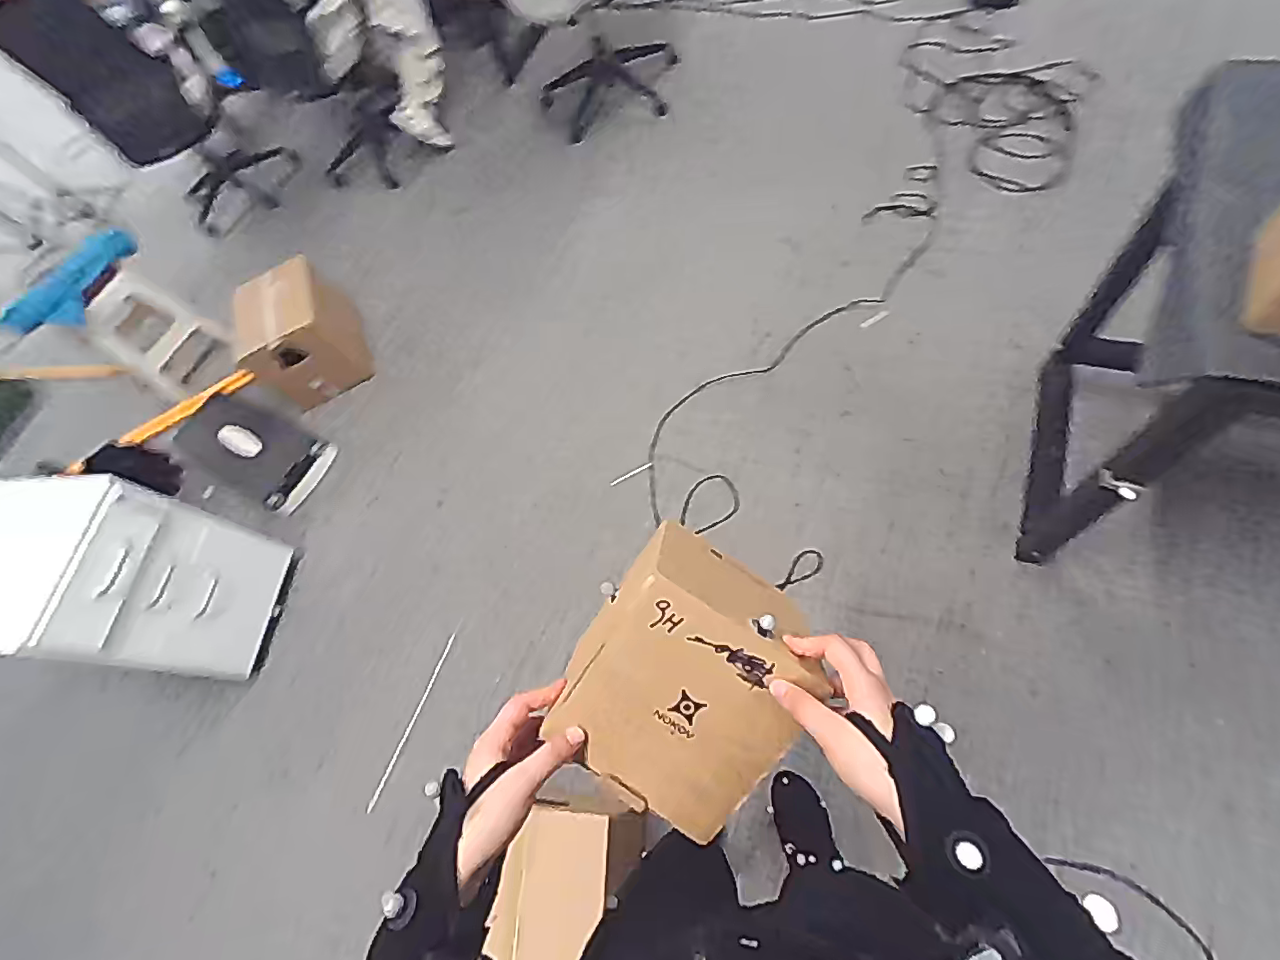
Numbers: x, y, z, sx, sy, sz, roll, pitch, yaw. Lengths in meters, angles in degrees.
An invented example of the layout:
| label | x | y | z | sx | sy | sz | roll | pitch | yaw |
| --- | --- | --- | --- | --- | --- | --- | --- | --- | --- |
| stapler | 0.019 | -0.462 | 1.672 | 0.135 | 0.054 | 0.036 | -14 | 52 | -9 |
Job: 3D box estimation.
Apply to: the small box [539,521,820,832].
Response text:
| label | x | y | z | sx | sy | sz | roll | pitch | yaw |
| --- | --- | --- | --- | --- | --- | --- | --- | --- | --- |
| small box | 0.038 | 0.166 | 0.509 | 0.168 | 0.176 | 0.179 | 35 | 103 | 0 |
